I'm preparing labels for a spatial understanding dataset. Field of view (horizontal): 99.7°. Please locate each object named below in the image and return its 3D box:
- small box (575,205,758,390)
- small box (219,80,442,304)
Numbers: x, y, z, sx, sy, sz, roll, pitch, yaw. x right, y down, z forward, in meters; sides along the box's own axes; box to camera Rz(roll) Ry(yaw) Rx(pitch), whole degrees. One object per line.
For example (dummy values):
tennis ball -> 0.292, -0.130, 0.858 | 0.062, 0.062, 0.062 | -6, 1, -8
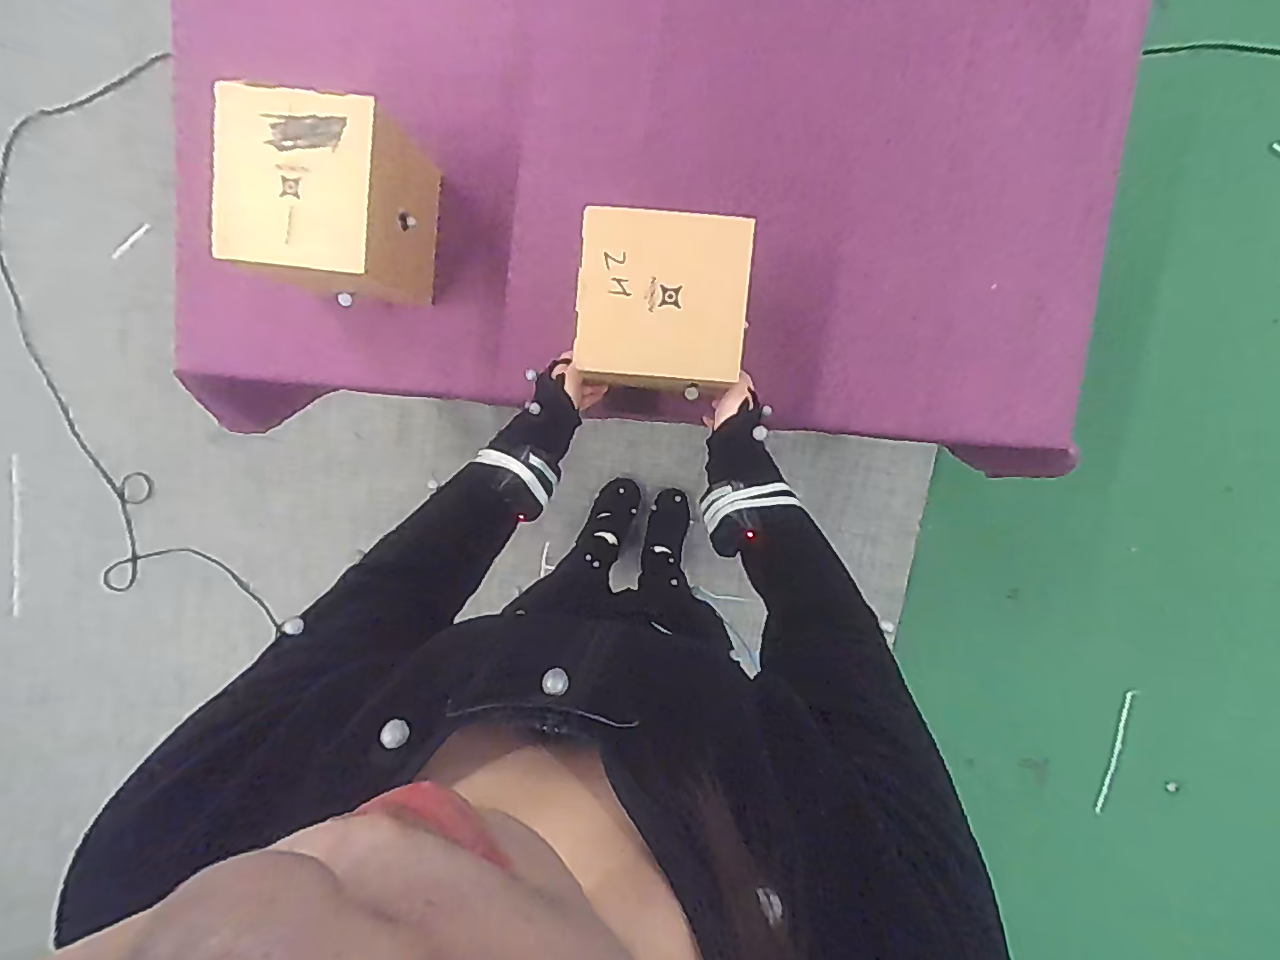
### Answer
small box -> 0.029, -0.198, 0.634 | 0.179, 0.176, 0.168 | 6, 95, 3
small box -> -0.347, -0.320, 0.636 | 0.168, 0.176, 0.179 | 7, 98, 2
